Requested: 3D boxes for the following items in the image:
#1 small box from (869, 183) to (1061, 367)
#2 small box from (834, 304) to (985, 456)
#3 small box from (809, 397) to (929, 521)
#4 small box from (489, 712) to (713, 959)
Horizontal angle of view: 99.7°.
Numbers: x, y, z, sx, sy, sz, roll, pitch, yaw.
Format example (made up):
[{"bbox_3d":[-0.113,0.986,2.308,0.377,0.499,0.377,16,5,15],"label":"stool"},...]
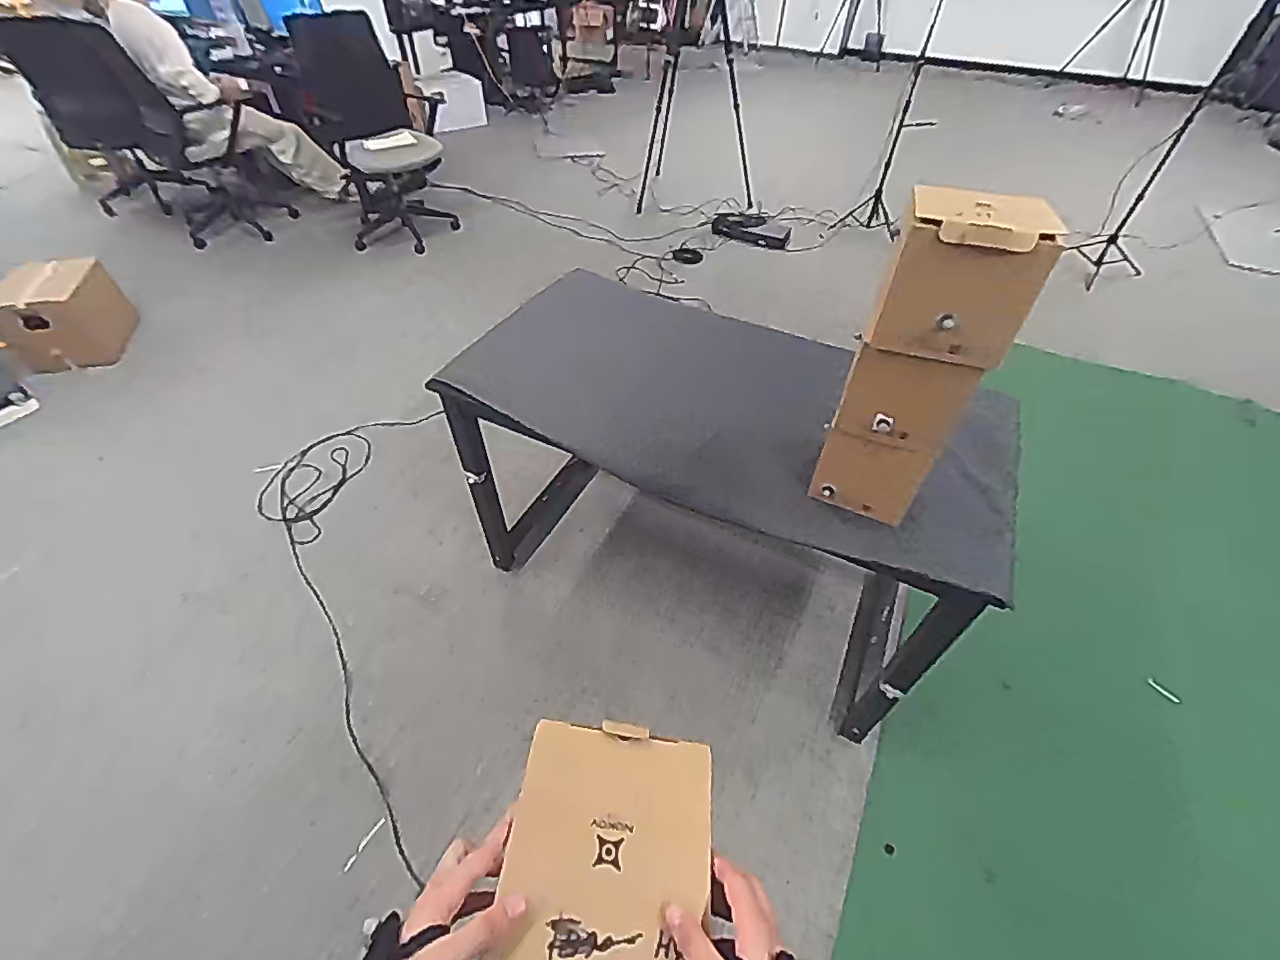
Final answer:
[{"bbox_3d":[0.422,-0.280,0.734,0.168,0.176,0.179,15,46,15],"label":"small box"},{"bbox_3d":[0.420,-0.169,0.857,0.168,0.176,0.179,17,48,16],"label":"small box"},{"bbox_3d":[0.418,-0.056,0.974,0.168,0.176,0.179,21,47,18],"label":"small box"},{"bbox_3d":[-0.030,0.347,0.501,0.168,0.176,0.179,8,44,0],"label":"small box"}]
